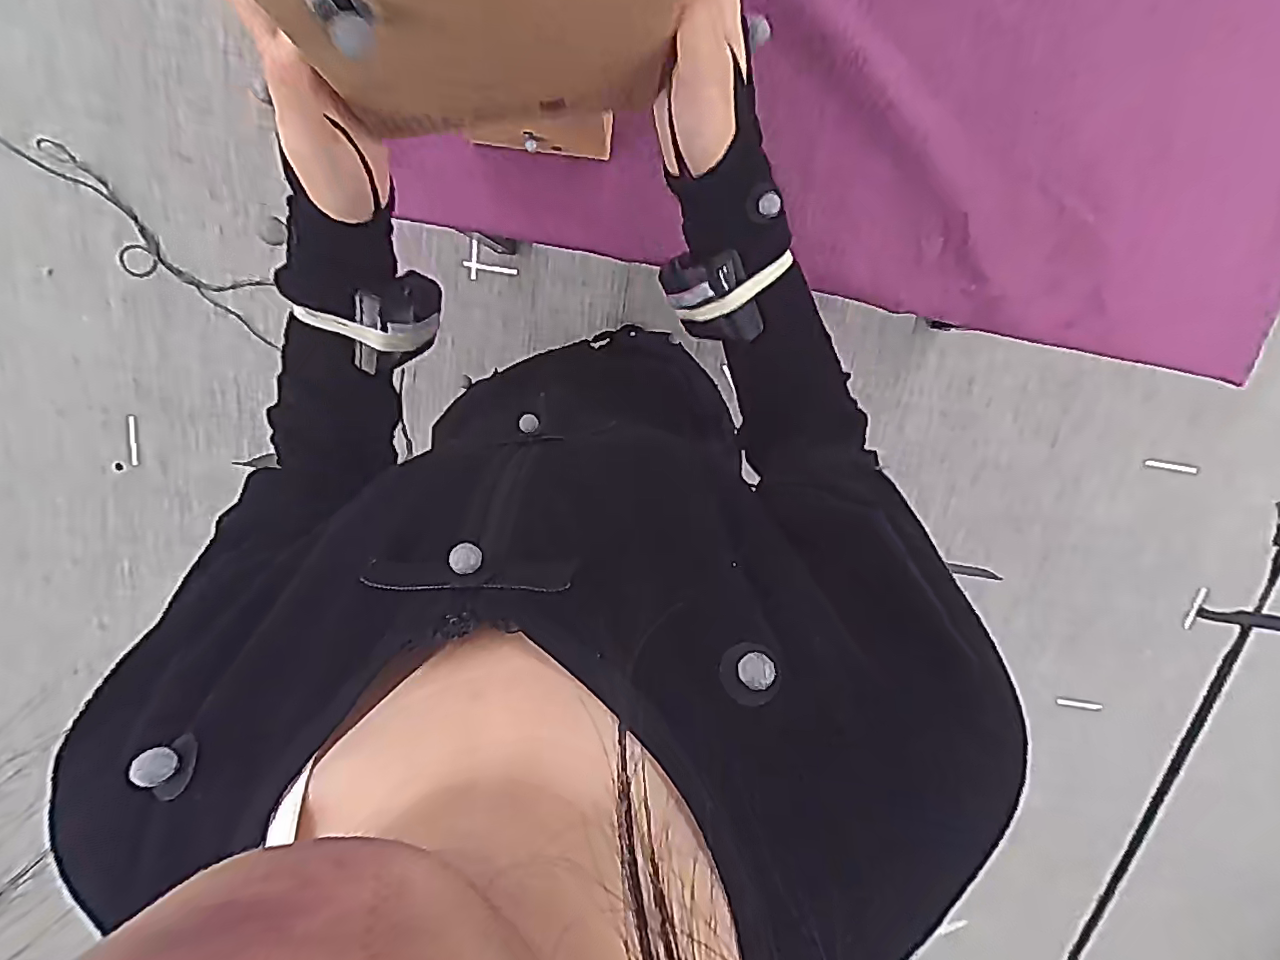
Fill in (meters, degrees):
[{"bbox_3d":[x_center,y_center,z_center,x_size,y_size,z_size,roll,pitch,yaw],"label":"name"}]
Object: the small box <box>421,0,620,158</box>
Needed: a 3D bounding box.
[{"bbox_3d":[-0.109,-0.457,0.546,0.168,0.176,0.179,6,105,-3],"label":"small box"}]
